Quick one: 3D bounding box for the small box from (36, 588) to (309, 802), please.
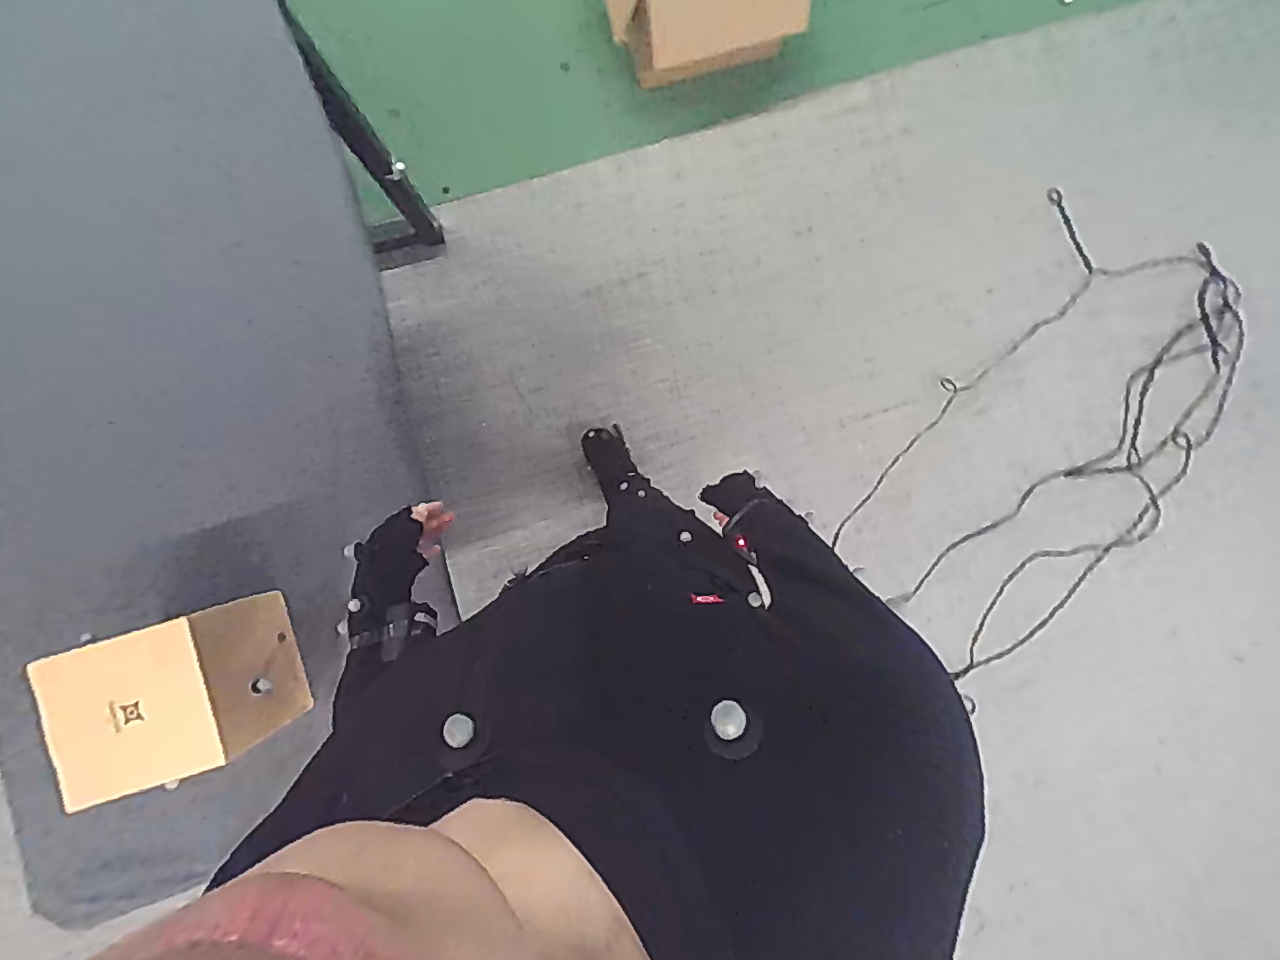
[{"bbox_3d":[-0.541,0.243,0.659,0.179,0.176,0.168,-17,89,-1],"label":"small box"}]
